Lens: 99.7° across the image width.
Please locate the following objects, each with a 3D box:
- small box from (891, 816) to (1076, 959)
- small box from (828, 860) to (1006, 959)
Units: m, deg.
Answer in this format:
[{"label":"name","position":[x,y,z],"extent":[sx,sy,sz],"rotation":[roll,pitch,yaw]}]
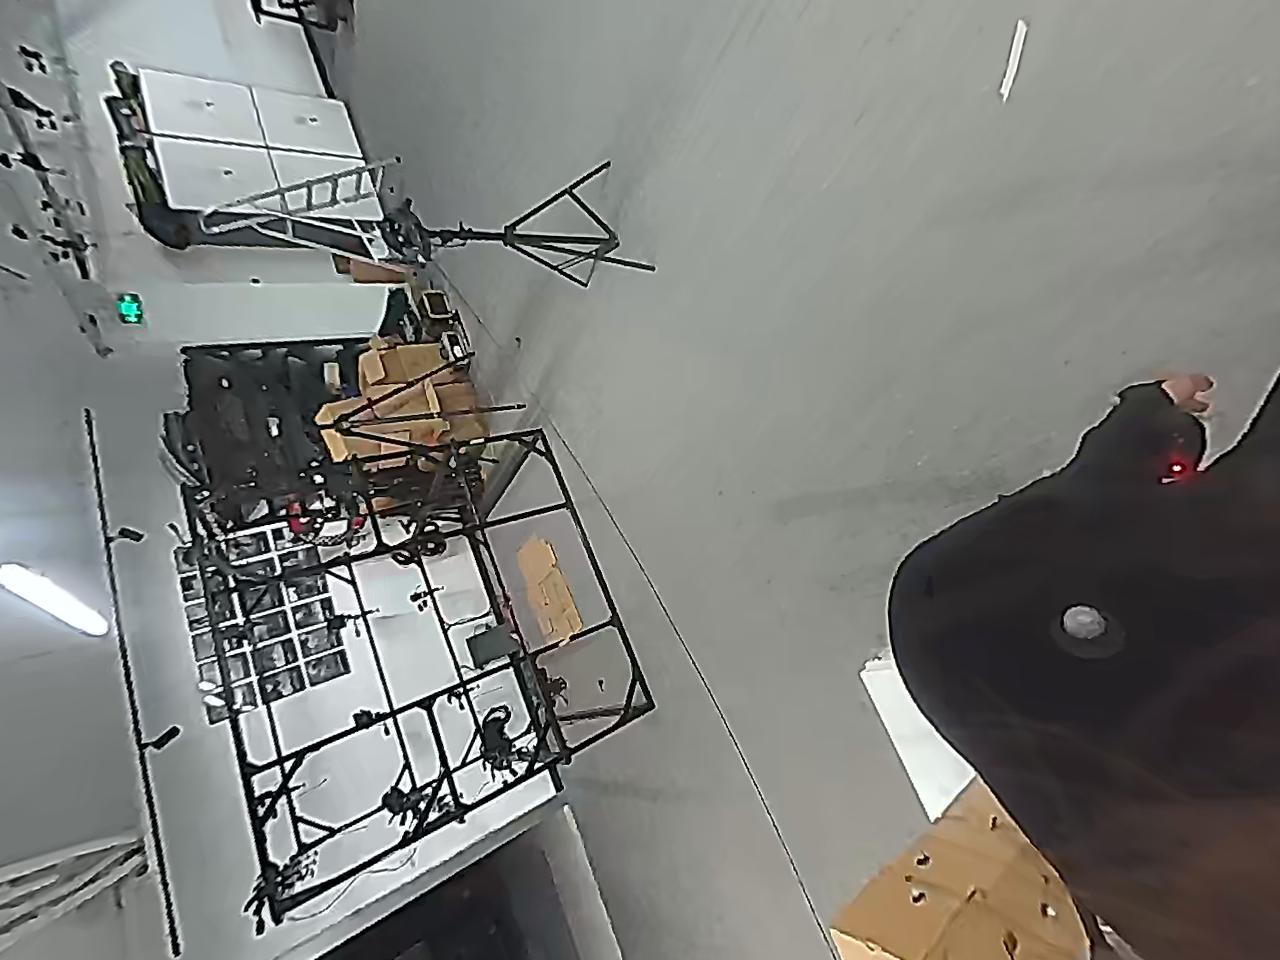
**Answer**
[{"label":"small box","position":[0.561,0.692,0.893],"extent":[0.179,0.176,0.168],"rotation":[-37,73,56]},{"label":"small box","position":[0.426,0.719,0.805],"extent":[0.168,0.176,0.179],"rotation":[-39,70,56]}]
